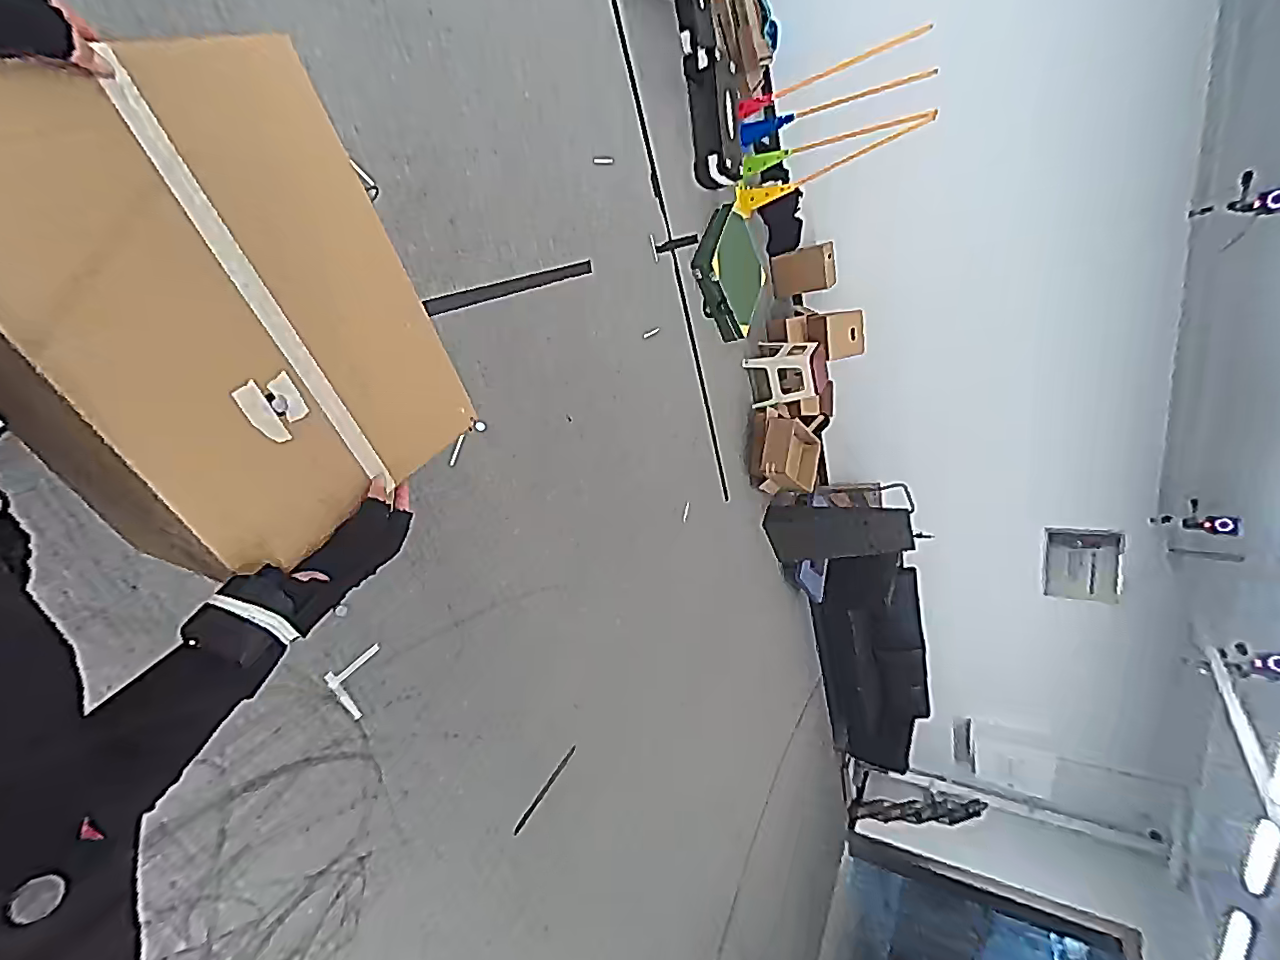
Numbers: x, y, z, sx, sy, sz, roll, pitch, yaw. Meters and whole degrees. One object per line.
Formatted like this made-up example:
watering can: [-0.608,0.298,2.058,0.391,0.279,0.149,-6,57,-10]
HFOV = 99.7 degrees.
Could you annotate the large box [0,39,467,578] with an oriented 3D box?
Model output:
large box: [-0.473,-0.162,0.574,0.320,0.320,0.408,-53,136,-41]
